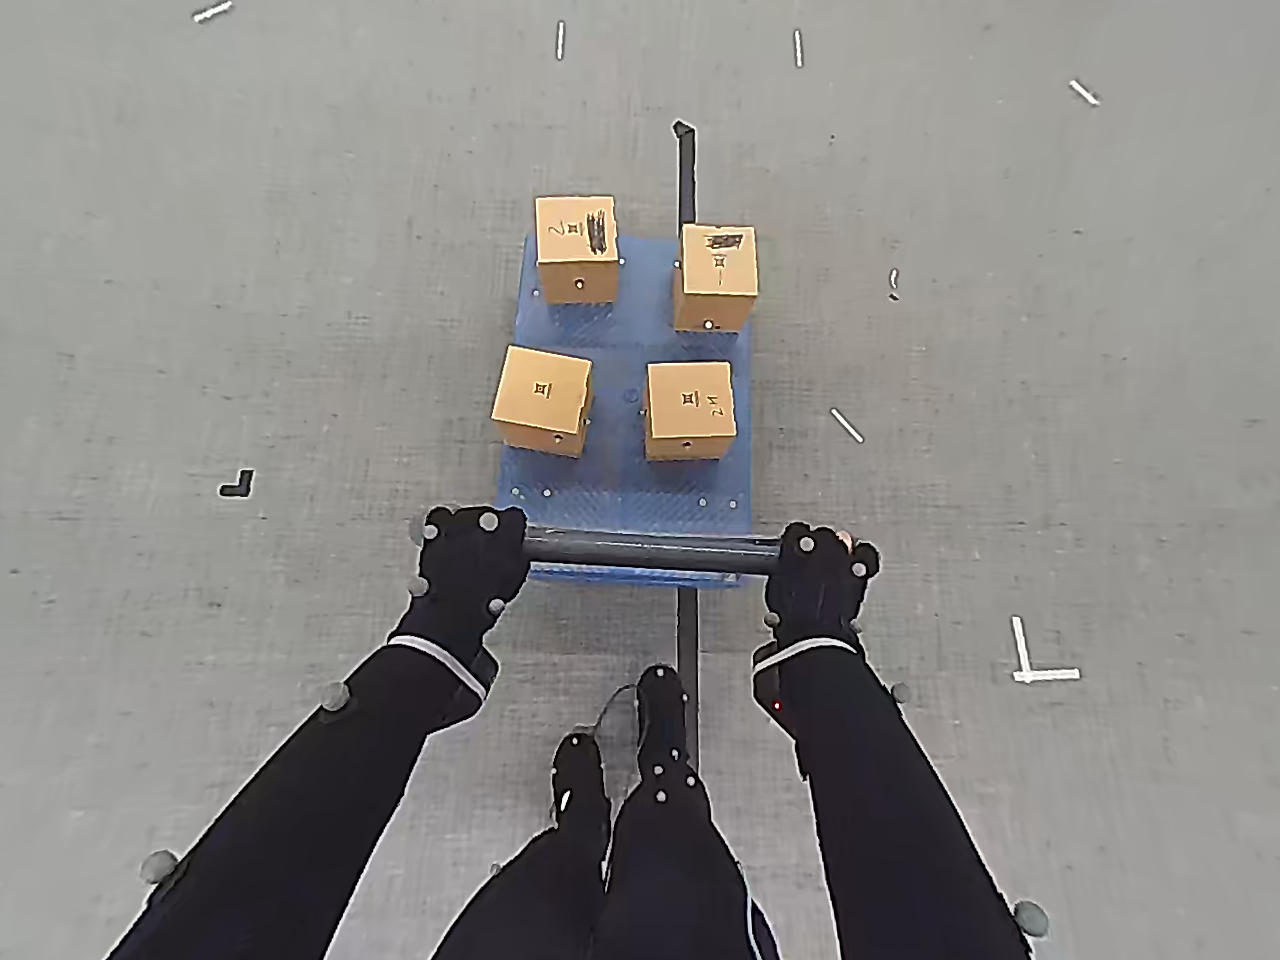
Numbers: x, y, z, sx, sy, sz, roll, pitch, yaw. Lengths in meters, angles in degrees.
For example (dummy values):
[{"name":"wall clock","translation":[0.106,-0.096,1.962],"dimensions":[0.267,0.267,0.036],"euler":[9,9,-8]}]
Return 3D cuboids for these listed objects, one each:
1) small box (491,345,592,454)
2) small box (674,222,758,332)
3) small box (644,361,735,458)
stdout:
[{"name":"small box","translation":[-0.204,-0.166,1.163],"dimensions":[0.179,0.176,0.168],"euler":[10,76,-3]},{"name":"small box","translation":[0.170,-0.469,1.261],"dimensions":[0.168,0.176,0.179],"euler":[1,78,-4]},{"name":"small box","translation":[0.099,-0.147,1.179],"dimensions":[0.179,0.176,0.168],"euler":[-2,77,-4]}]
